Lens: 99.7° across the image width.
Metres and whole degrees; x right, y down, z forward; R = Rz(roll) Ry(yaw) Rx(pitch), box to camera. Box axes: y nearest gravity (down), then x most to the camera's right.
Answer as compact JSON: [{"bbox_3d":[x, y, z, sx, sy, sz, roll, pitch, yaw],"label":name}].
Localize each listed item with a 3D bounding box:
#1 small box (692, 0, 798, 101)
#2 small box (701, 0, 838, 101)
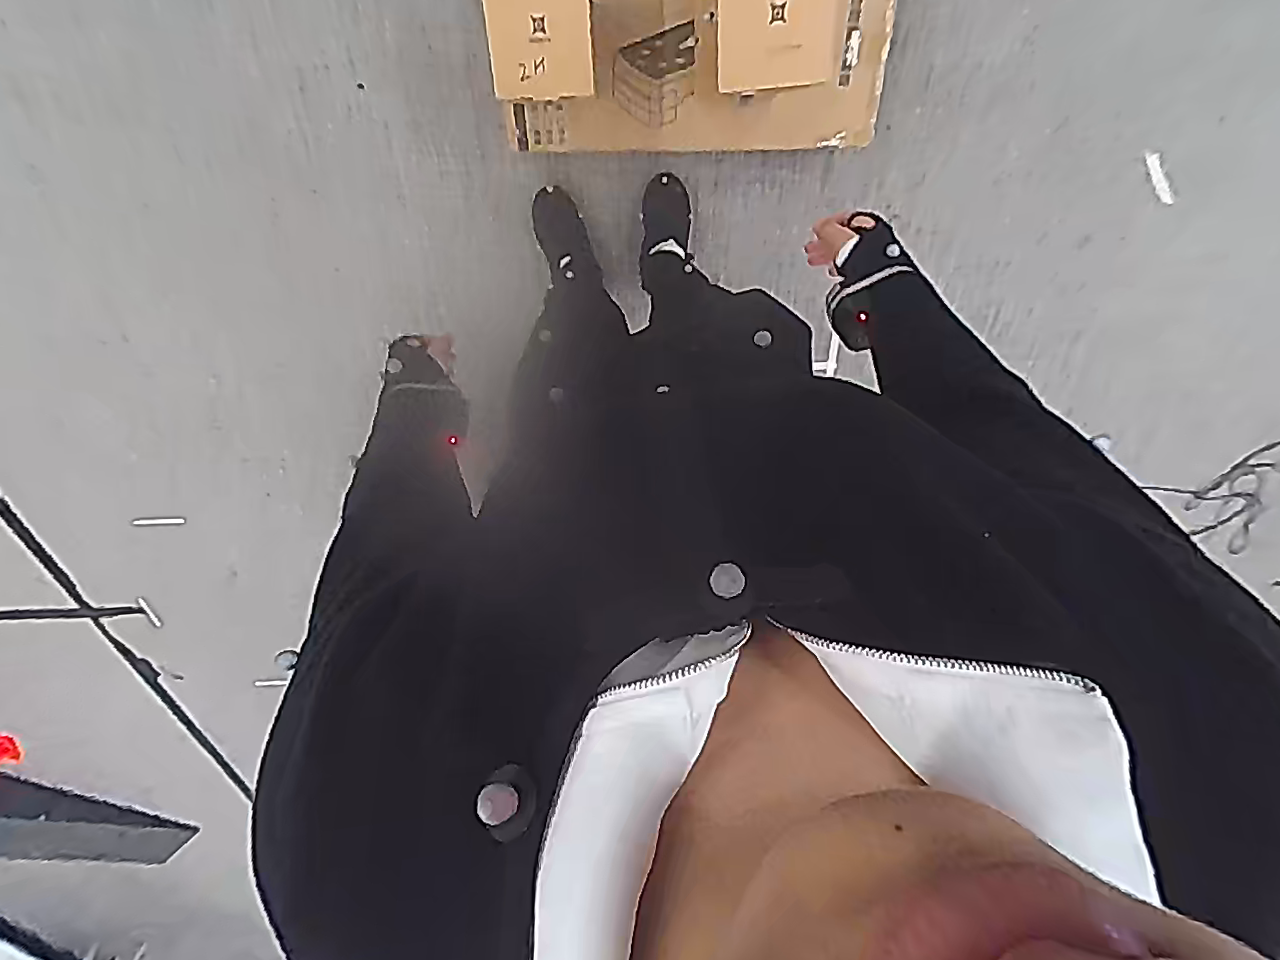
[{"bbox_3d":[0.184,-0.768,0.936,0.168,0.176,0.179,-4,124,-1],"label":"small box"},{"bbox_3d":[0.183,-0.678,0.799,0.168,0.176,0.179,-6,124,1],"label":"small box"}]
